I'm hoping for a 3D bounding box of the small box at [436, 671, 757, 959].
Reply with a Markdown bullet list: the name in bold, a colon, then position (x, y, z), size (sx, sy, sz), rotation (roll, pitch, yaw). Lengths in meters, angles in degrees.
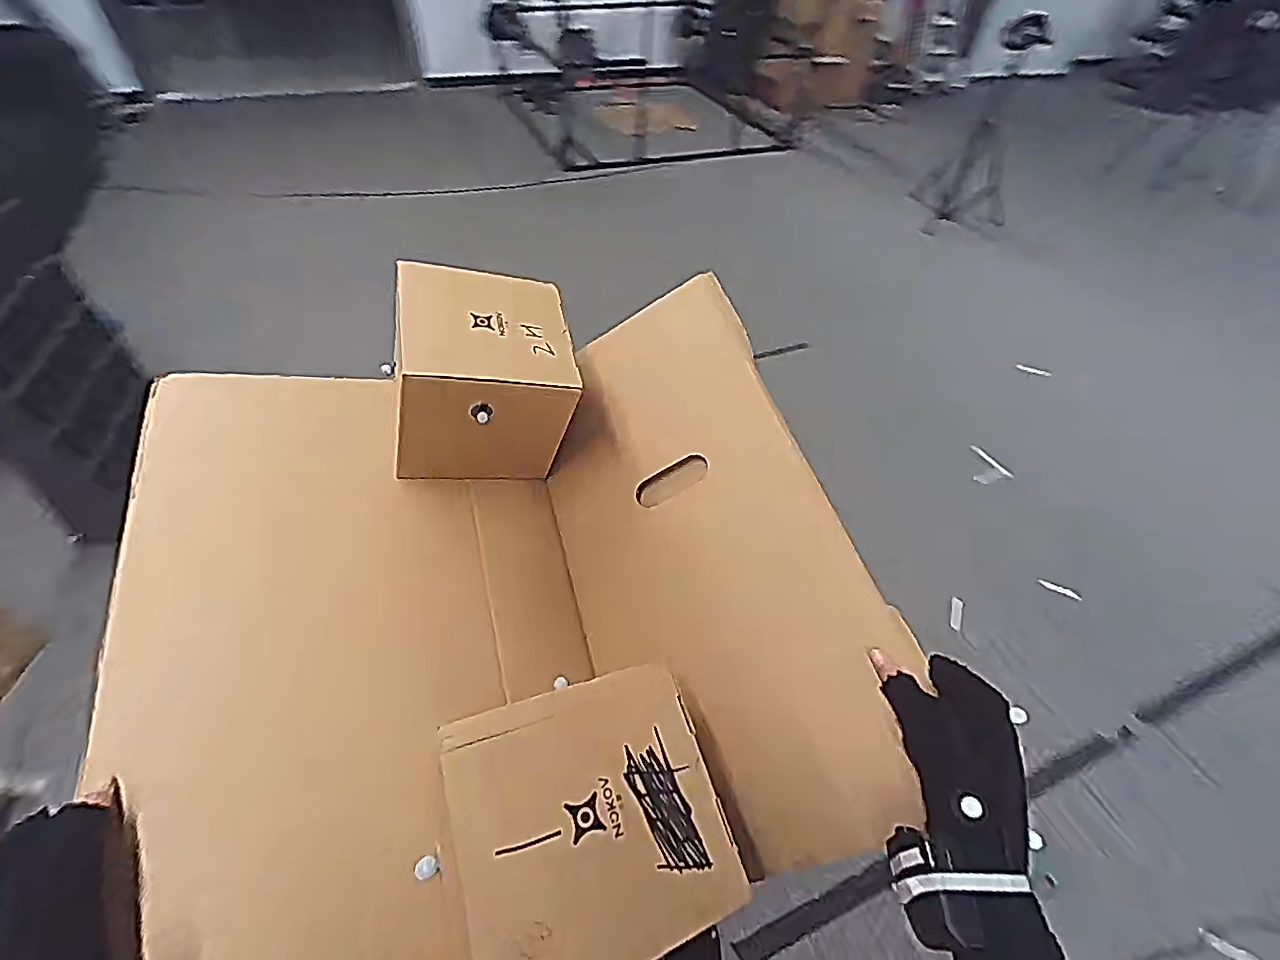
- **small box**: position (-0.049, 0.265, 0.413), size (0.179, 0.176, 0.168), rotation (-5, 60, -27)
